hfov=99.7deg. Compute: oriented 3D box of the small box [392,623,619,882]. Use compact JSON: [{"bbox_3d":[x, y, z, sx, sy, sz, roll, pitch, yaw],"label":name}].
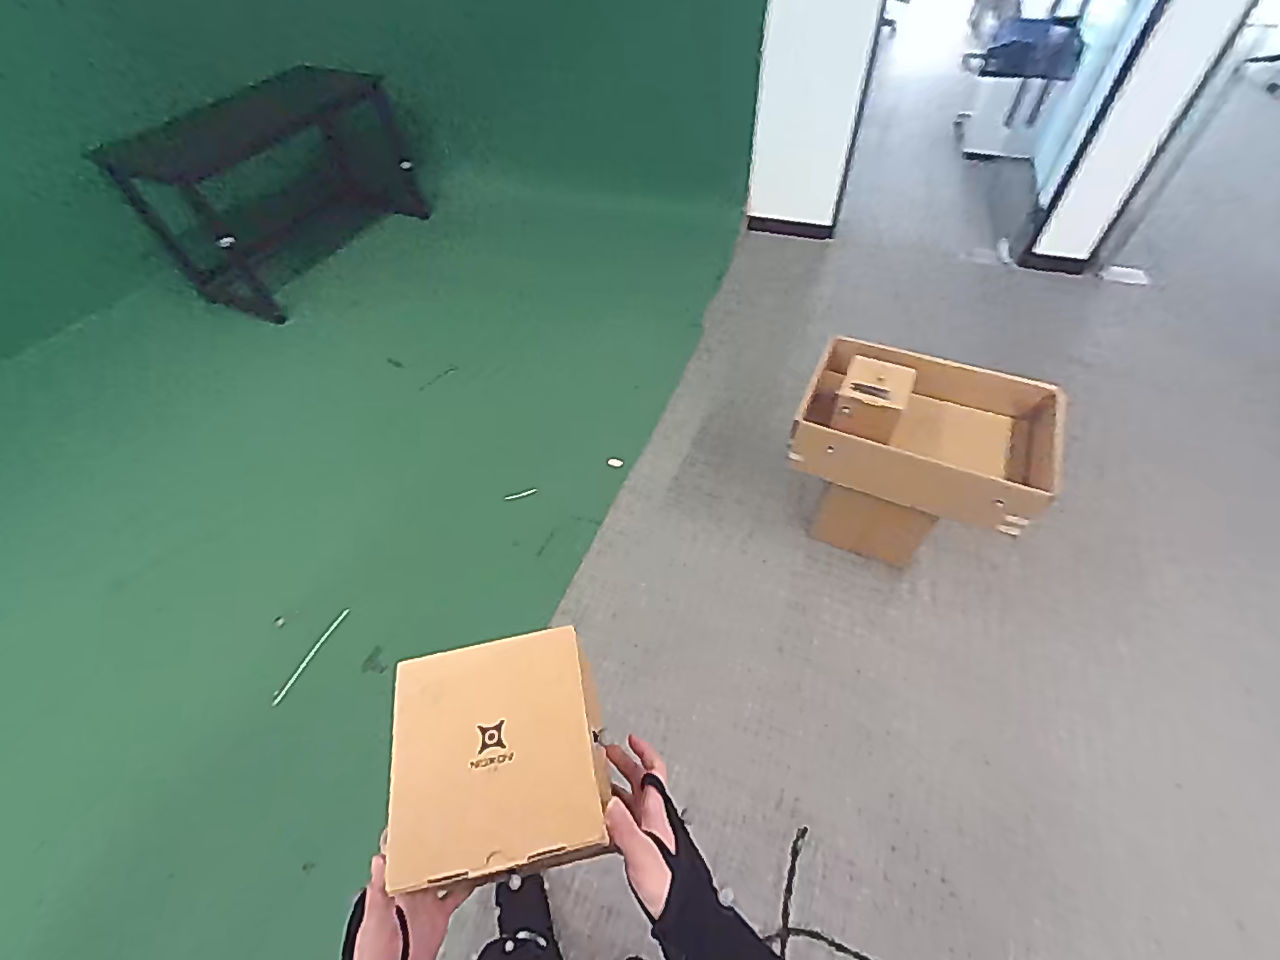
[{"bbox_3d":[-0.117,0.262,0.519,0.168,0.176,0.179,-11,56,-5],"label":"small box"}]
